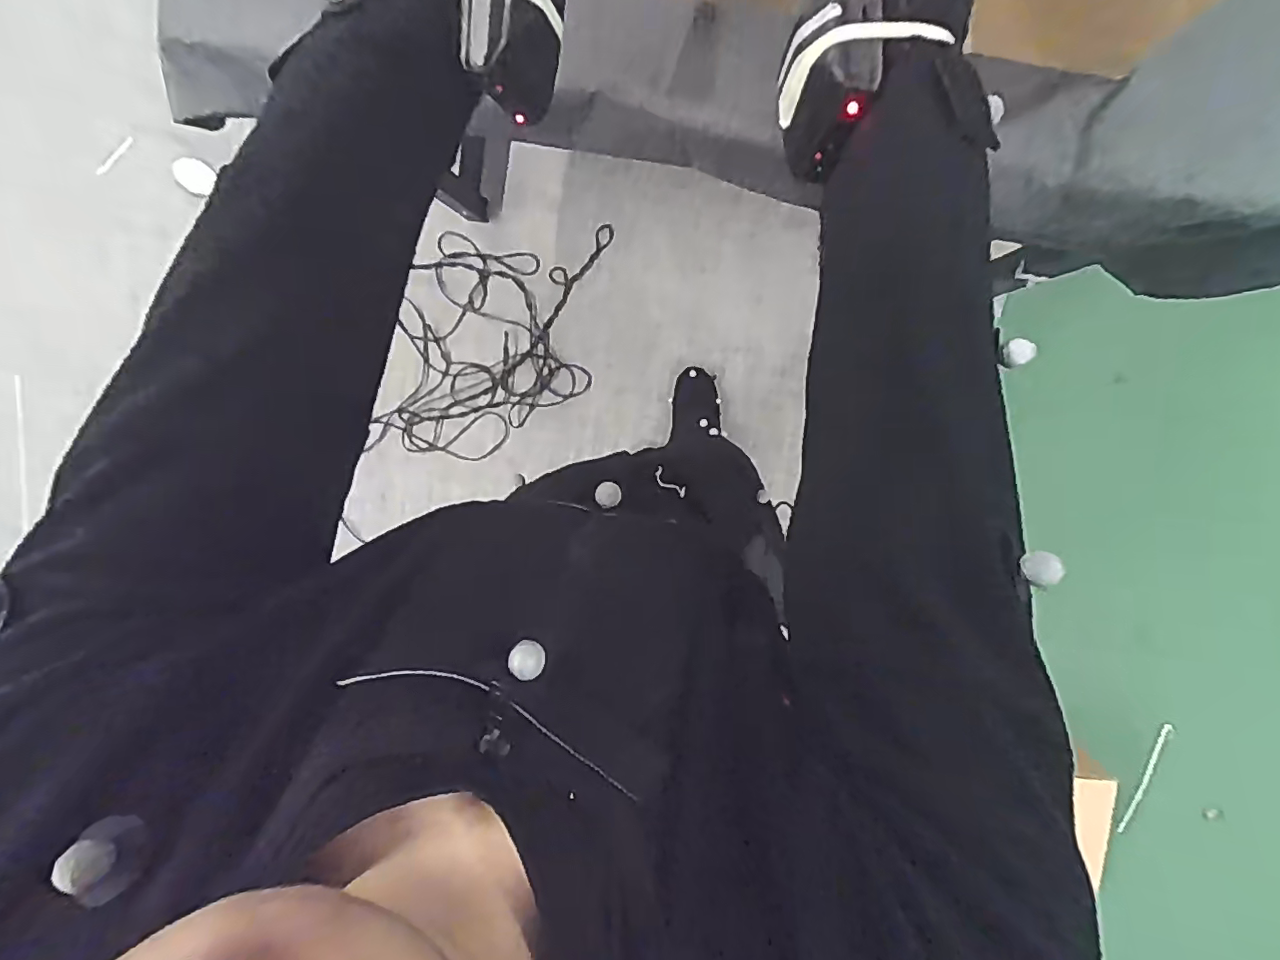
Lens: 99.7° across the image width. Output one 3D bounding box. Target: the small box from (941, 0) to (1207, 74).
[{"bbox_3d":[0.366,-0.451,0.409,0.179,0.176,0.168,14,101,4],"label":"small box"}]
